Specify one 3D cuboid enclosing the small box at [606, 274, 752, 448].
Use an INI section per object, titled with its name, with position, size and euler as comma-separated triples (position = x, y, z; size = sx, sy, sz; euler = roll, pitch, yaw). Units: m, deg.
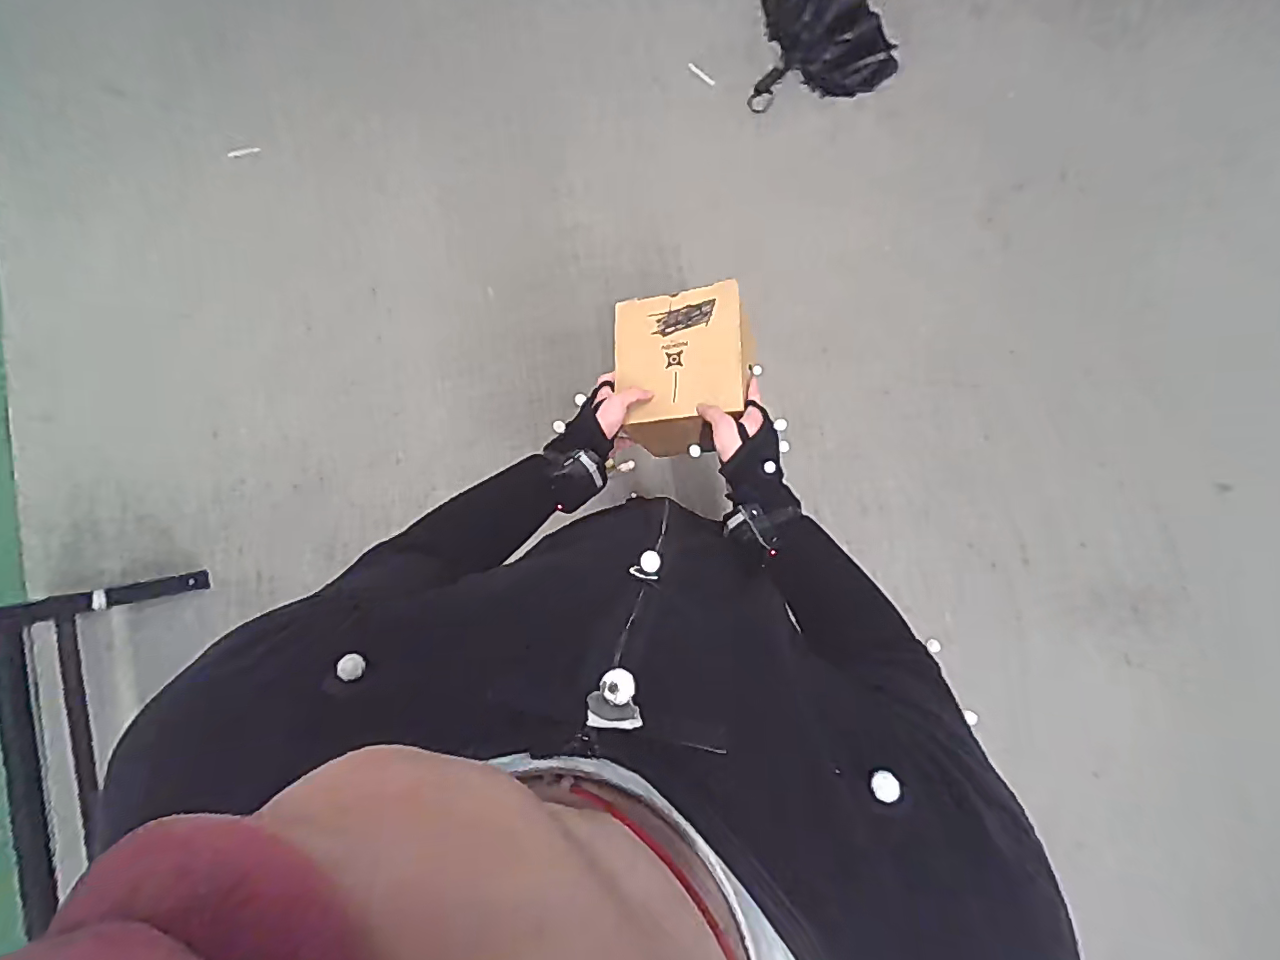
[small box]
position = 0.062, -0.156, 0.765
size = 0.168, 0.176, 0.179
euler = -5, 77, 21
